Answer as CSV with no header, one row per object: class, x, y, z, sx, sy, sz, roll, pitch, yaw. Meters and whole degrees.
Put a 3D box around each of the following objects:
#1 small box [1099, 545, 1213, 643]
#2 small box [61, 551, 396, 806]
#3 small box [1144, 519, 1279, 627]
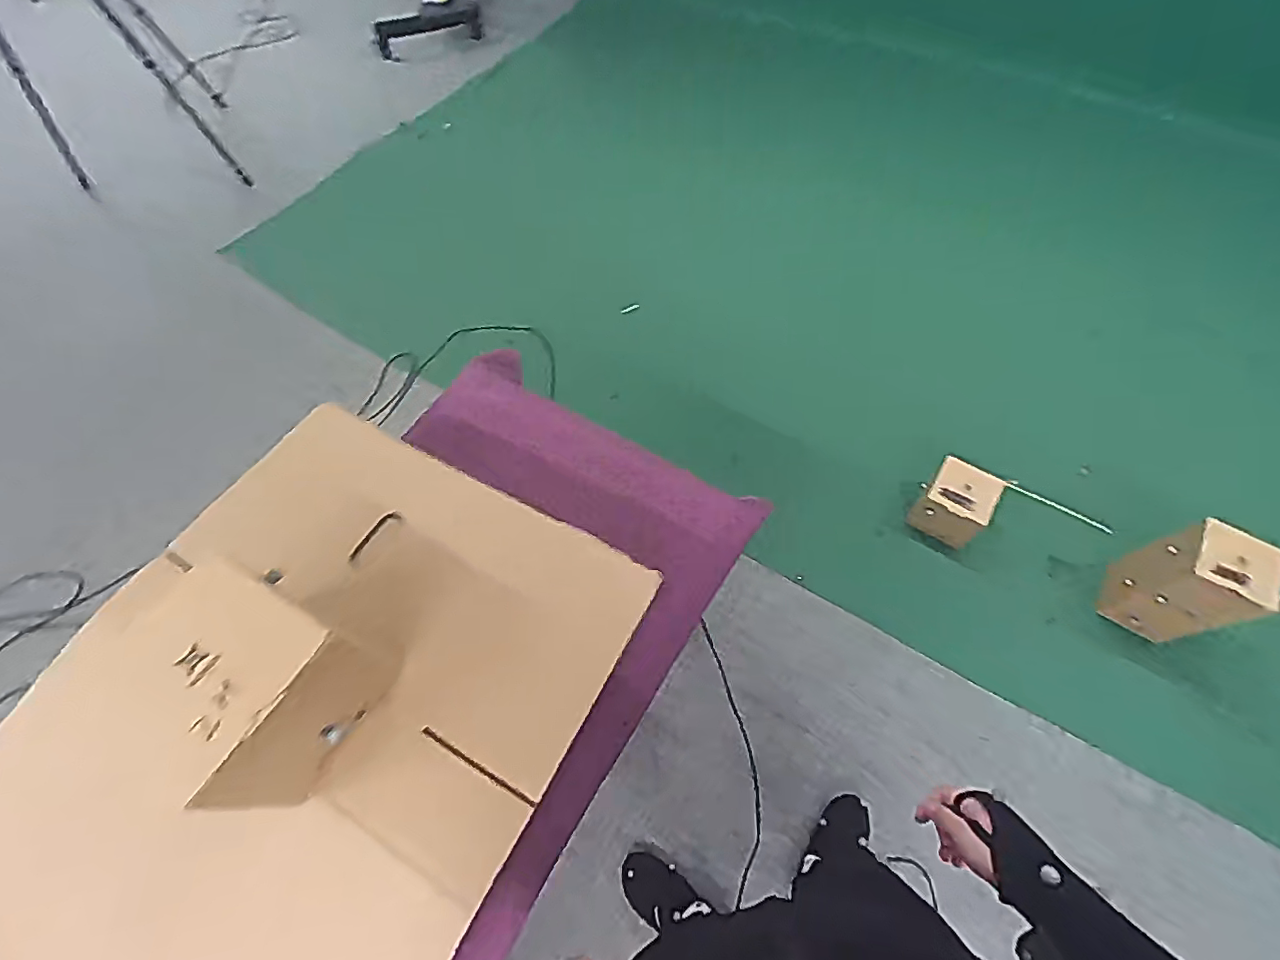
small box,1.397,0.311,1.461,0.168,0.176,0.179,30,67,17
small box,-0.397,0.207,0.558,0.179,0.176,0.168,27,64,15
small box,1.392,0.232,1.317,0.168,0.176,0.179,32,67,17
